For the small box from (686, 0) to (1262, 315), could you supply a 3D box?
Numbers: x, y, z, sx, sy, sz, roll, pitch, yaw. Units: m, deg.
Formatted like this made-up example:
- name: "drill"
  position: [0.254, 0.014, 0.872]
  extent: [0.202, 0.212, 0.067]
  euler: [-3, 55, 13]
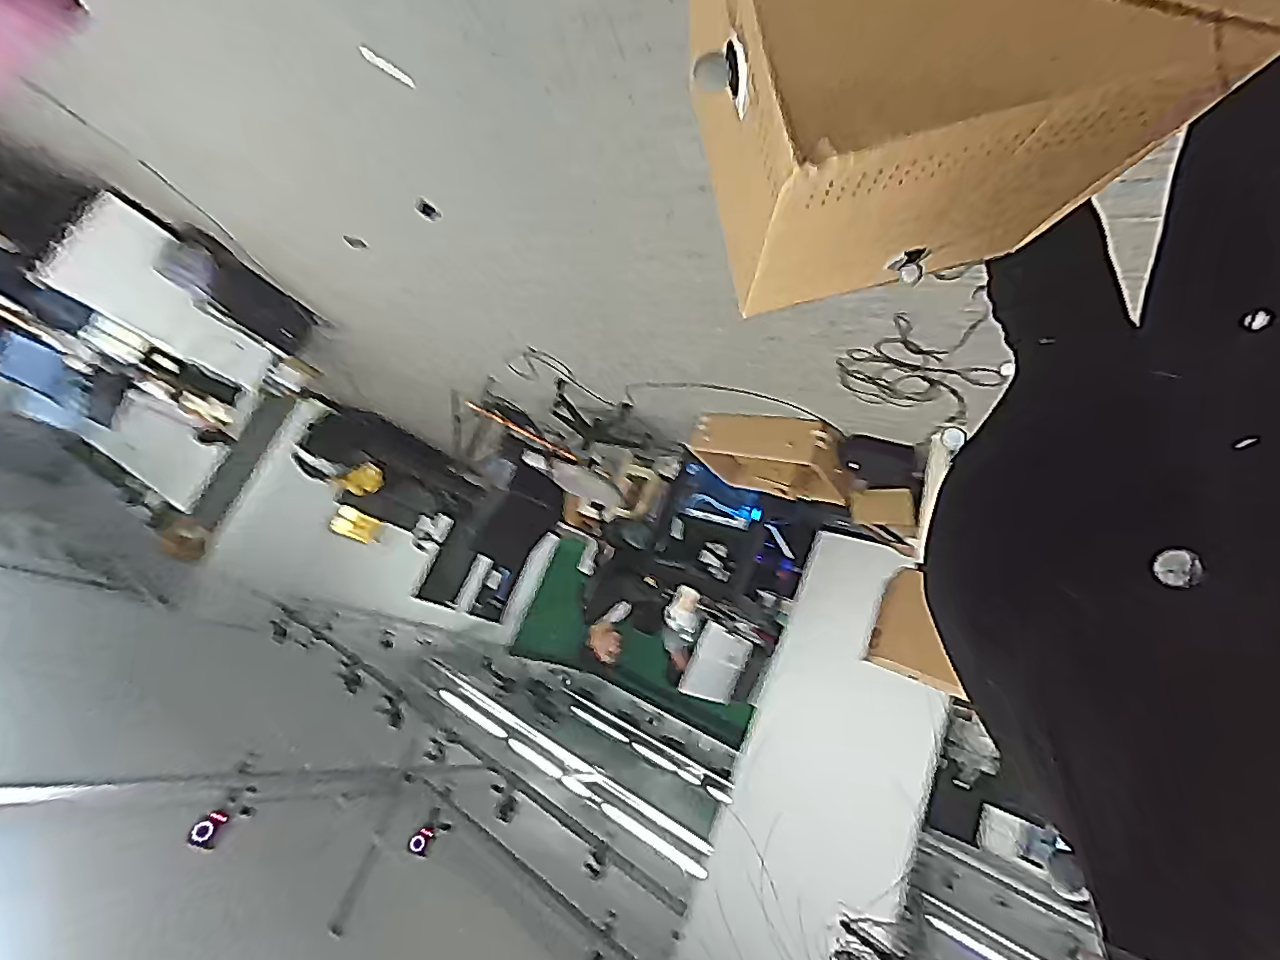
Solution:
- name: "small box"
  position: [0.124, -0.206, 0.269]
  extent: [0.179, 0.168, 0.176]
  euler: [-12, 177, 5]
